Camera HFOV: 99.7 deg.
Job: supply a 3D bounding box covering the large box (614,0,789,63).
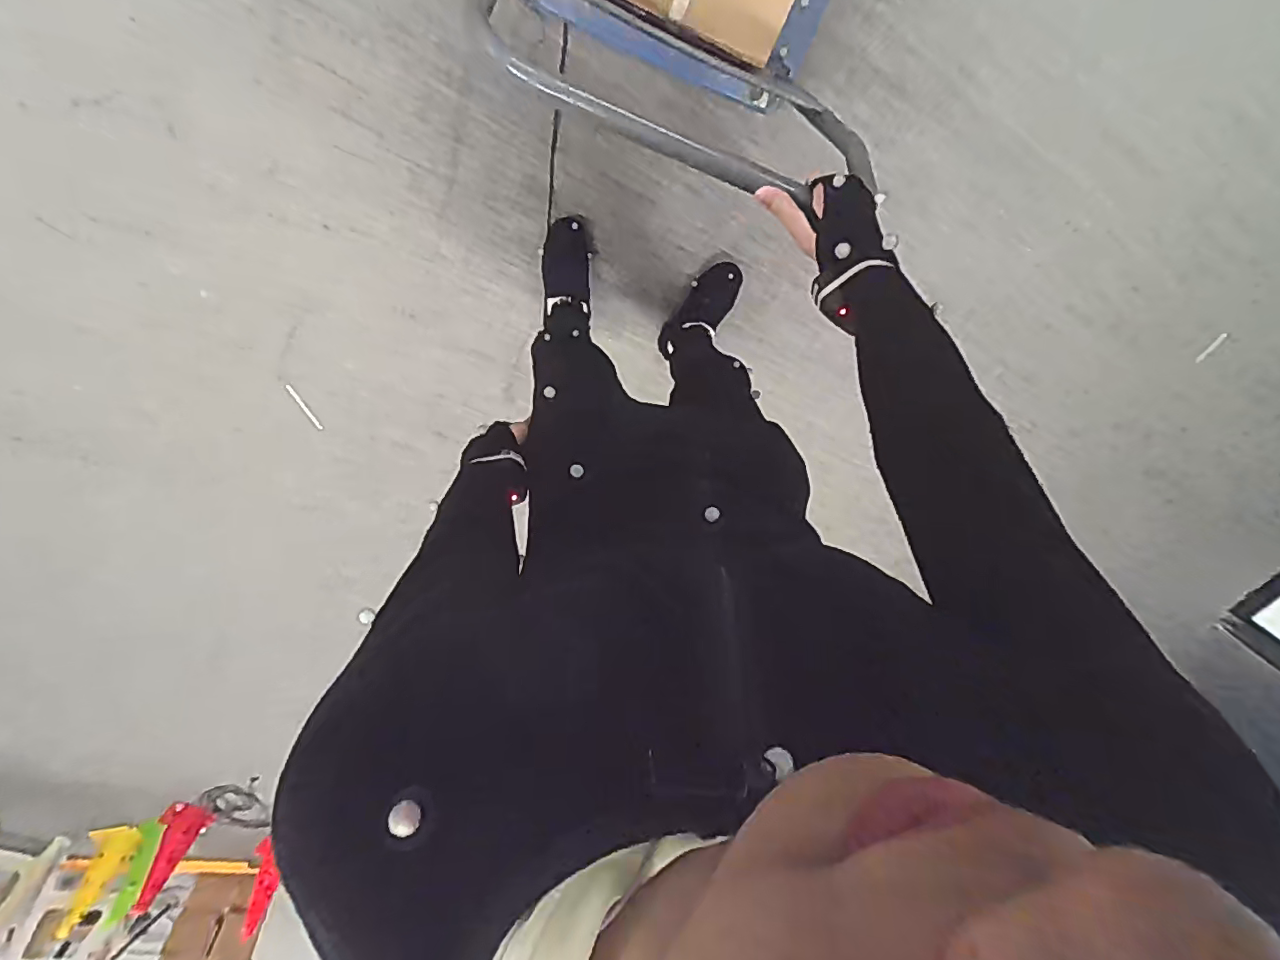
[{"bbox_3d":[0.108,-0.919,0.795,0.320,0.320,0.408,14,128,-17],"label":"large box"}]
